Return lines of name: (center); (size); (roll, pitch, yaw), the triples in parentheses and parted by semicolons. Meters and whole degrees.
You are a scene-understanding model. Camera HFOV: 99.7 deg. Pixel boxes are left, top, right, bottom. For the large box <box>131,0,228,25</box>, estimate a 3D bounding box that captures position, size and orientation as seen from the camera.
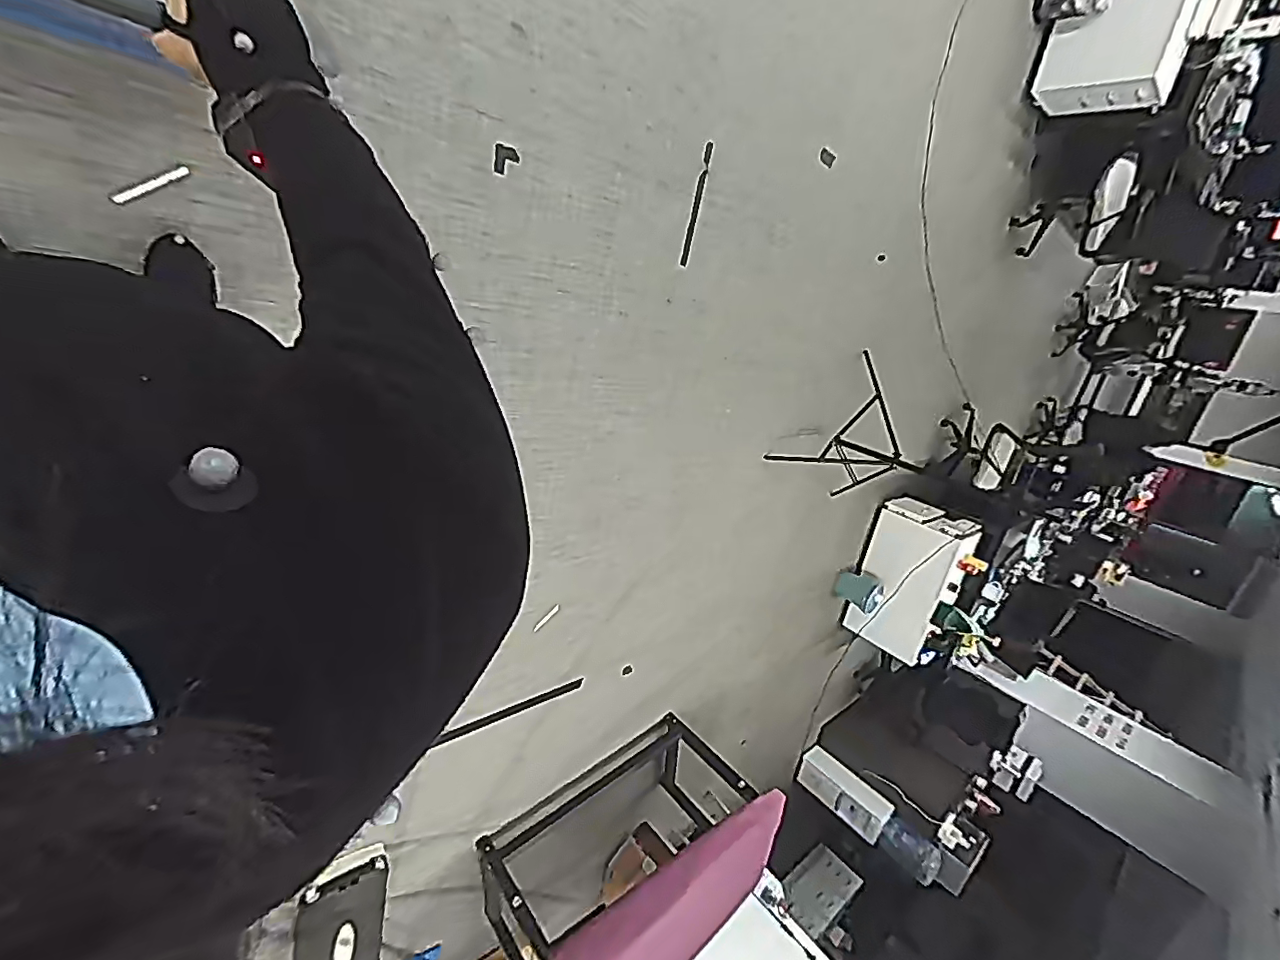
large box: (-0.742, -0.807, 0.616); (0.408, 0.320, 0.320); (-8, 121, -42)
